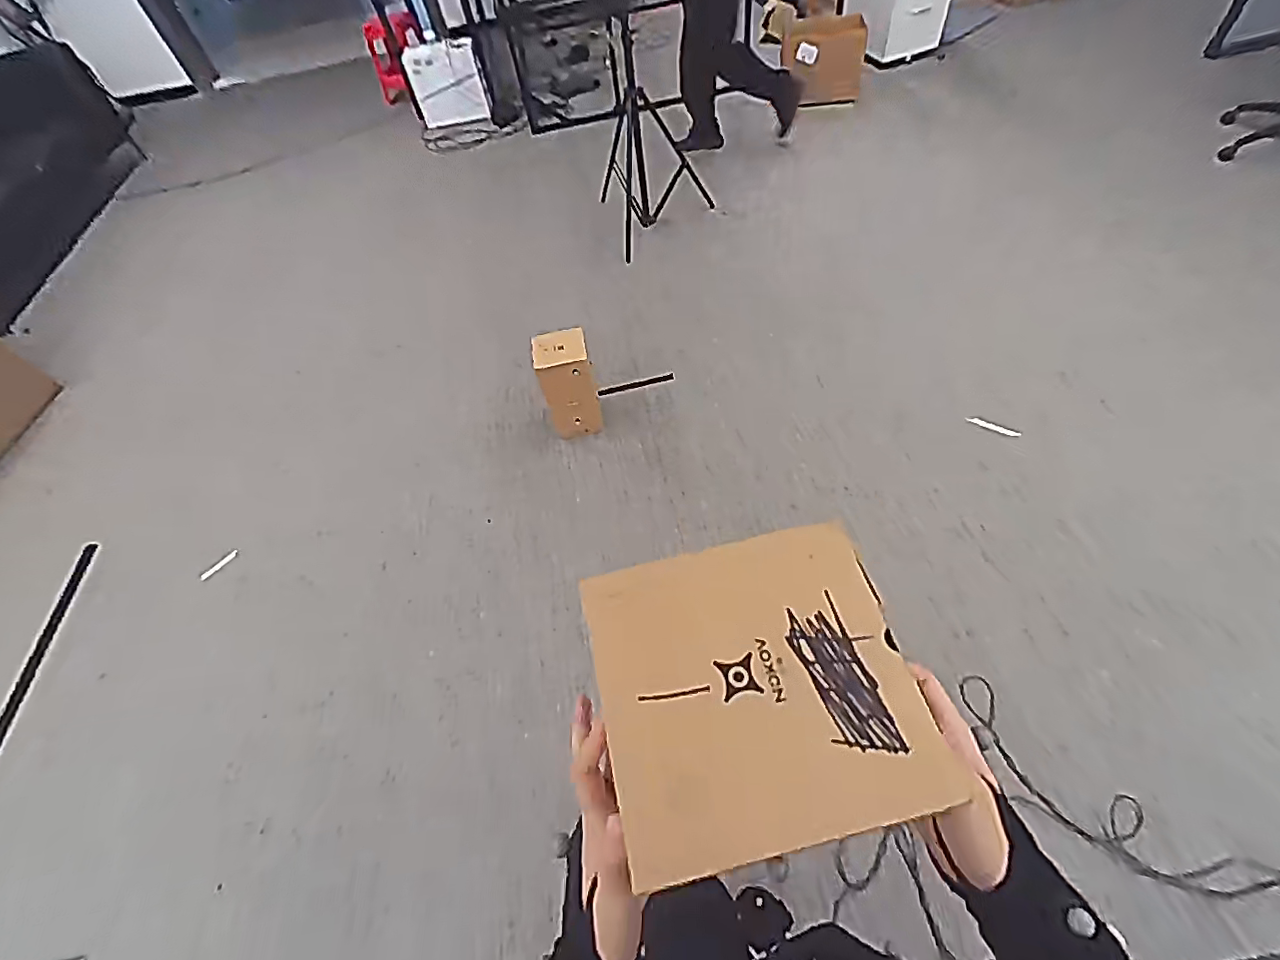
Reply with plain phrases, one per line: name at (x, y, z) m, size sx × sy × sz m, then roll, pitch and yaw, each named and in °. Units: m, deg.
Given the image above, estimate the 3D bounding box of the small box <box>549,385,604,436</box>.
small box at (-0.232, -0.275, 1.944) m, size 0.168 × 0.176 × 0.179 m, roll -11°, pitch 54°, yaw 0°

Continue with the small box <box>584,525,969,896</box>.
small box at (0.069, 0.155, 0.372) m, size 0.179 × 0.176 × 0.168 m, roll -13°, pitch 57°, yaw -4°

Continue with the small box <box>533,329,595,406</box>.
small box at (-0.250, -0.374, 1.811) m, size 0.179 × 0.176 × 0.168 m, roll -12°, pitch 53°, yaw 0°
